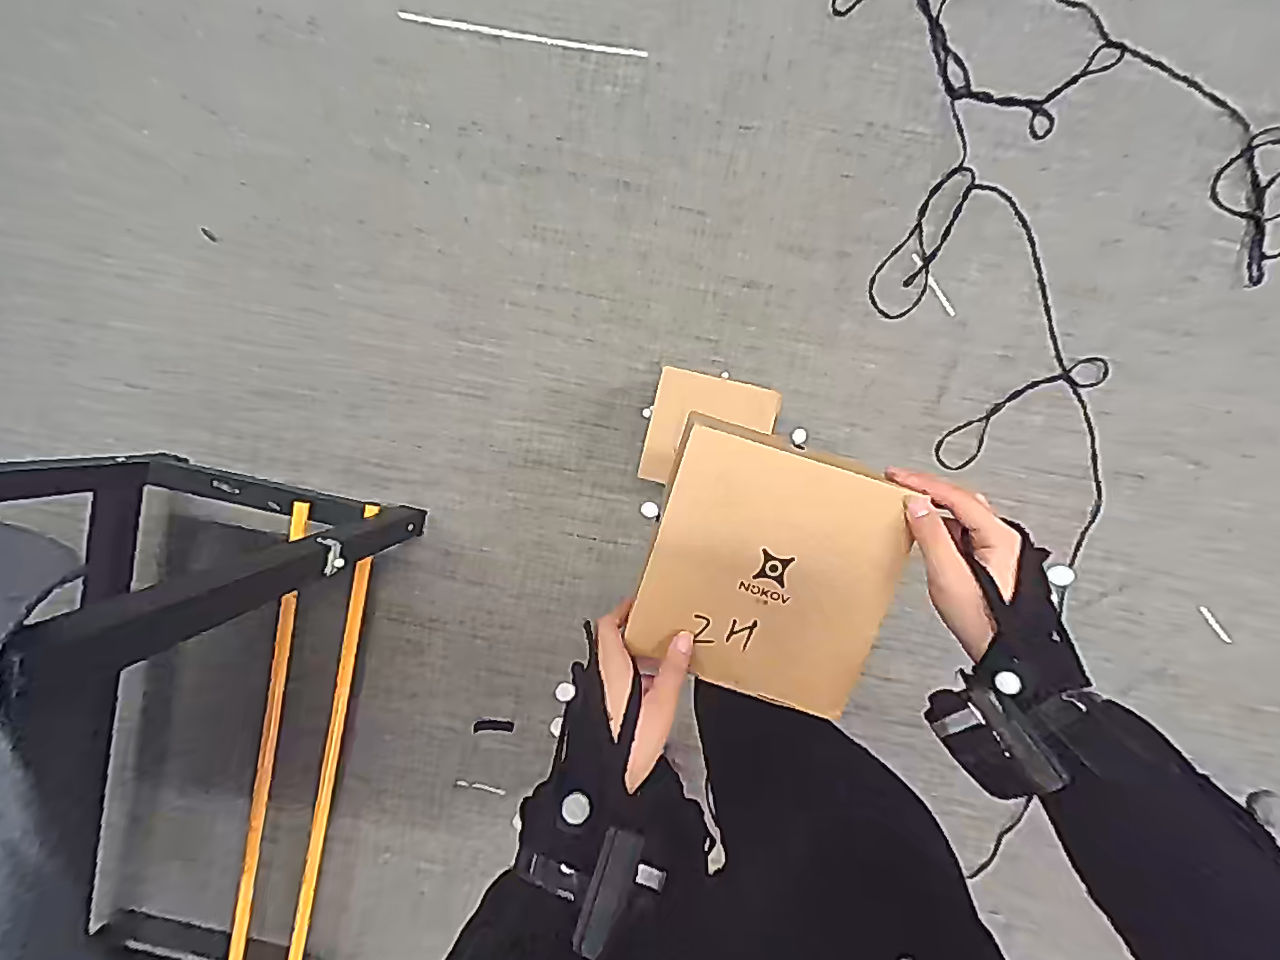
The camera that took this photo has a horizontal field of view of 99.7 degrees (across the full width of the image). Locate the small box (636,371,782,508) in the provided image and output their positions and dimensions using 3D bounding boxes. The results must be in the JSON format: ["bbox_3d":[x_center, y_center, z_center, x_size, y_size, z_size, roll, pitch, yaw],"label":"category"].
[{"bbox_3d":[0.101,-0.064,0.841,0.179,0.176,0.168,13,95,2],"label":"small box"}]
